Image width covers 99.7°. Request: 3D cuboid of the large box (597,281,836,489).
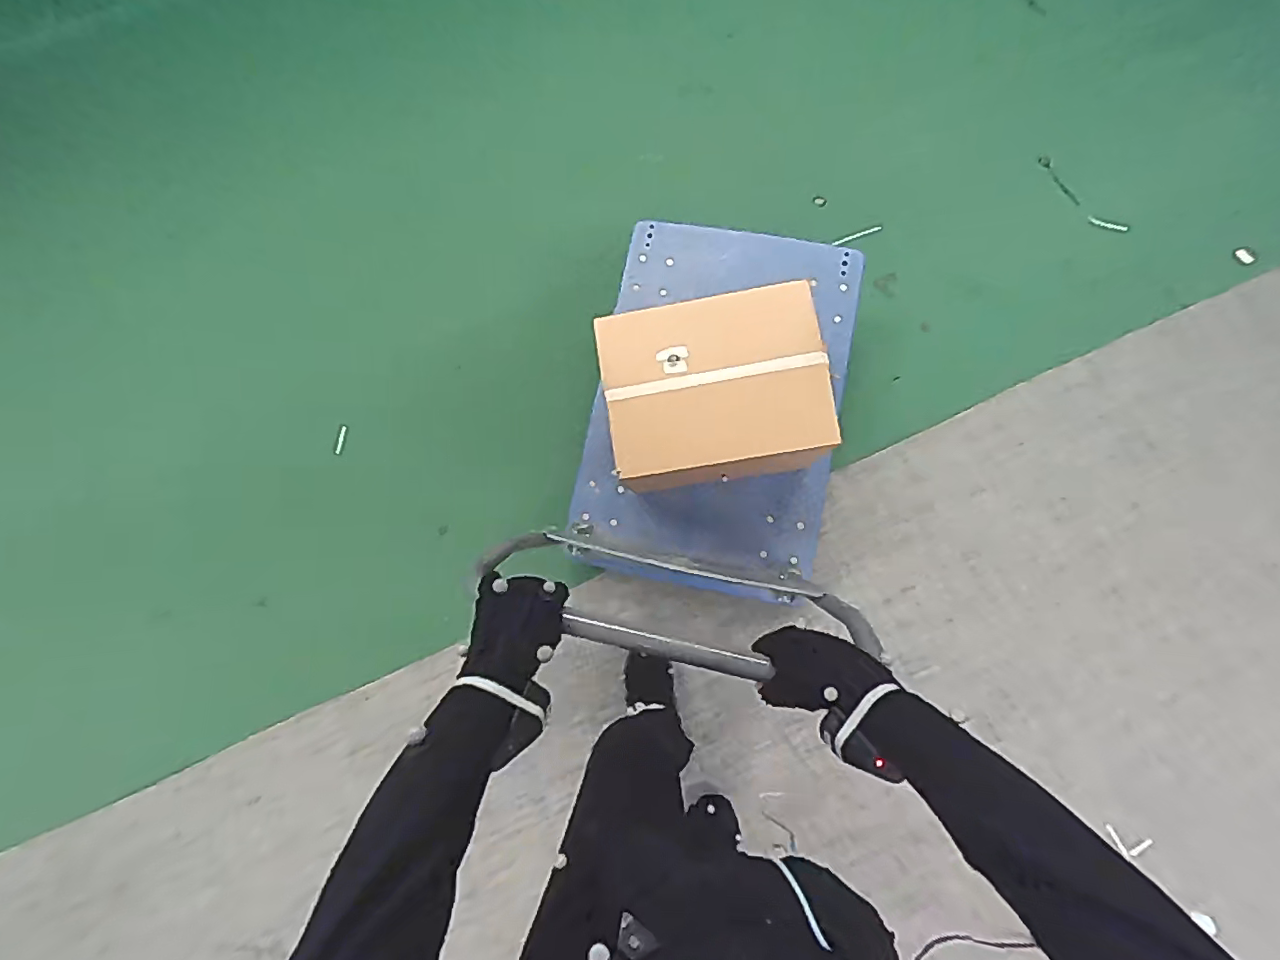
[{"bbox_3d":[0.152,-0.173,1.147,0.408,0.320,0.320,-9,82,6],"label":"large box"}]
